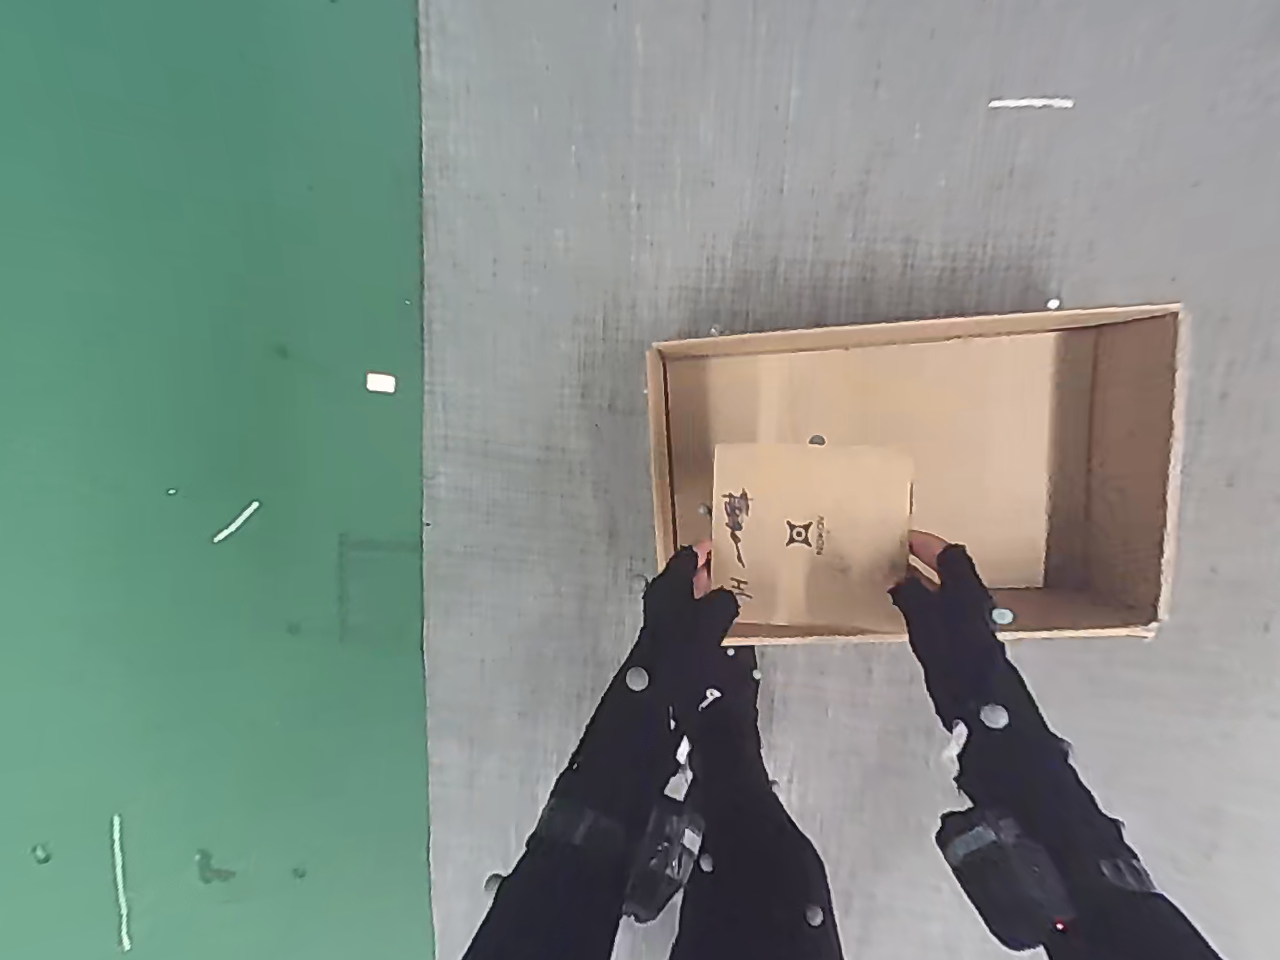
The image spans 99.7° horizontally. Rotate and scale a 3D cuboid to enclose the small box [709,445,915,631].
[{"bbox_3d":[0.165,0.049,0.571,0.179,0.176,0.168,2,91,7],"label":"small box"}]
